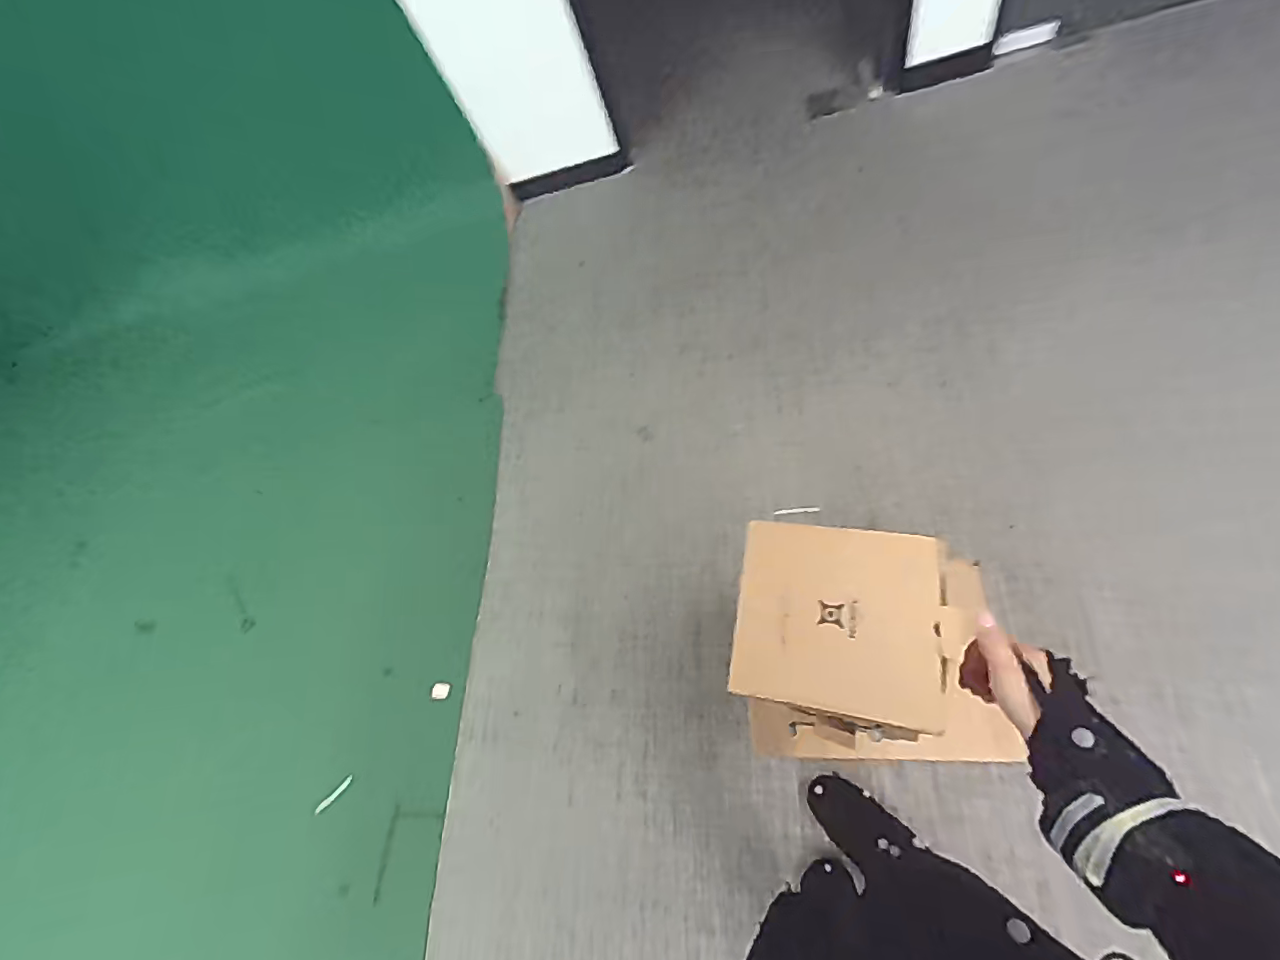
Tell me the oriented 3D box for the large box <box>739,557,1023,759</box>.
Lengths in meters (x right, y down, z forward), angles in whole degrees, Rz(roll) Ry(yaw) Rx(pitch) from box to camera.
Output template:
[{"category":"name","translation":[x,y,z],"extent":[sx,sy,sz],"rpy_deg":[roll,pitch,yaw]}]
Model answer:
[{"category":"large box","translation":[0.418,0.354,1.042],"extent":[0.408,0.320,0.320],"rpy_deg":[-7,66,14]}]

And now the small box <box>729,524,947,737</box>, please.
[{"category":"small box","translation":[0.198,0.155,0.554],"extent":[0.179,0.176,0.168],"rpy_deg":[3,67,20]}]
